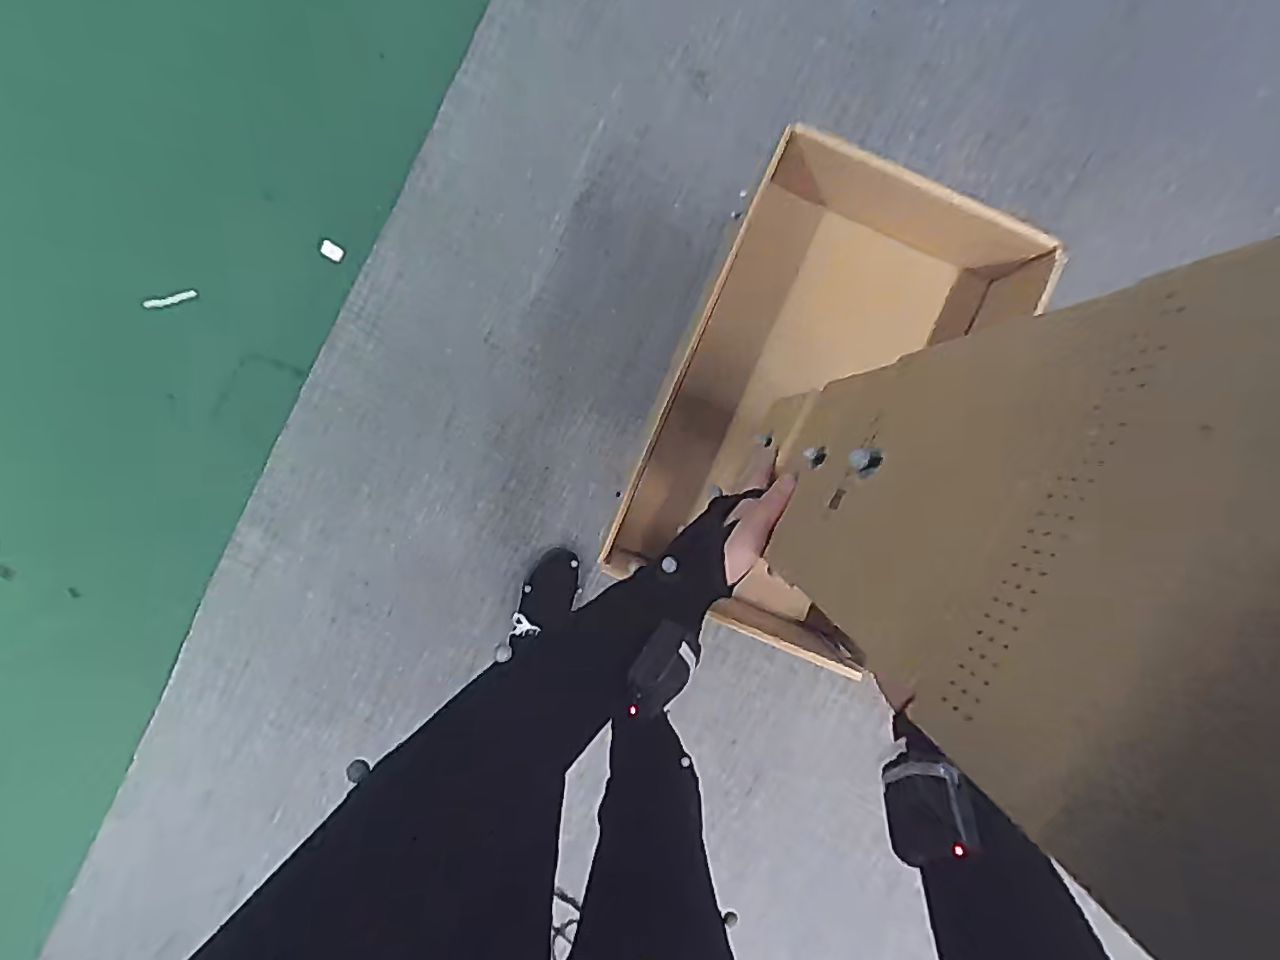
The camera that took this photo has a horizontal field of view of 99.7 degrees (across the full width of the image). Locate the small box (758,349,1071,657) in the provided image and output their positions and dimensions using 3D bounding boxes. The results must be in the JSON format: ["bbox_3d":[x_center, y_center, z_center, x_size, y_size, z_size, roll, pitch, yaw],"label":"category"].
[{"bbox_3d":[0.214,0.019,0.445,0.168,0.176,0.179,27,93,-3],"label":"small box"}]

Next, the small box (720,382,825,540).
[{"bbox_3d":[0.208,0.009,0.608,0.179,0.176,0.168,26,94,-3],"label":"small box"}]
